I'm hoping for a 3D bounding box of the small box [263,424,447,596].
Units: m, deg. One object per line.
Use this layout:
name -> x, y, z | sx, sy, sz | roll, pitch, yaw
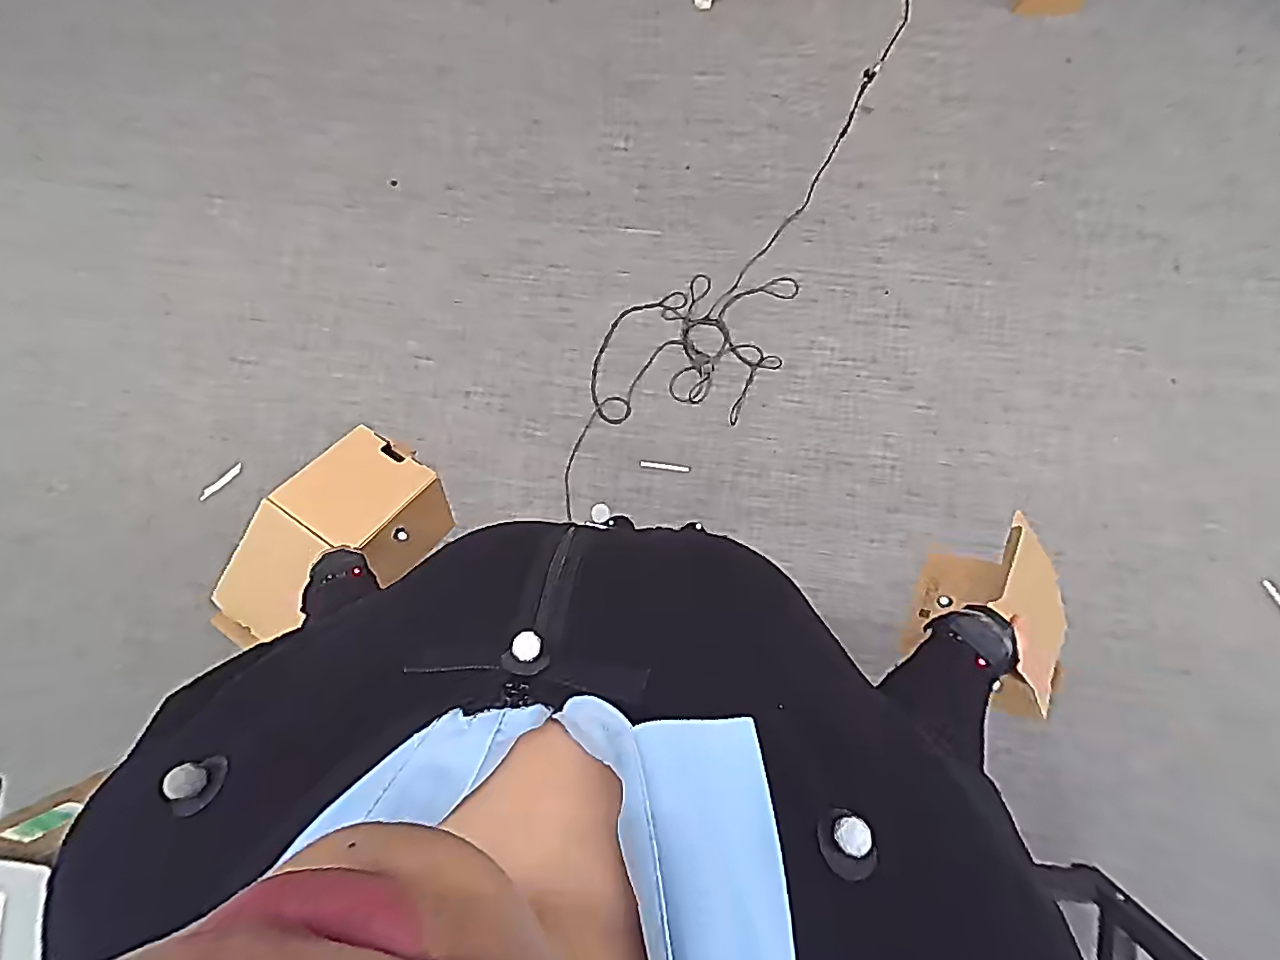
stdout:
small box -> -0.432, 0.053, 0.856 | 0.168, 0.176, 0.179 | 32, 58, 12
